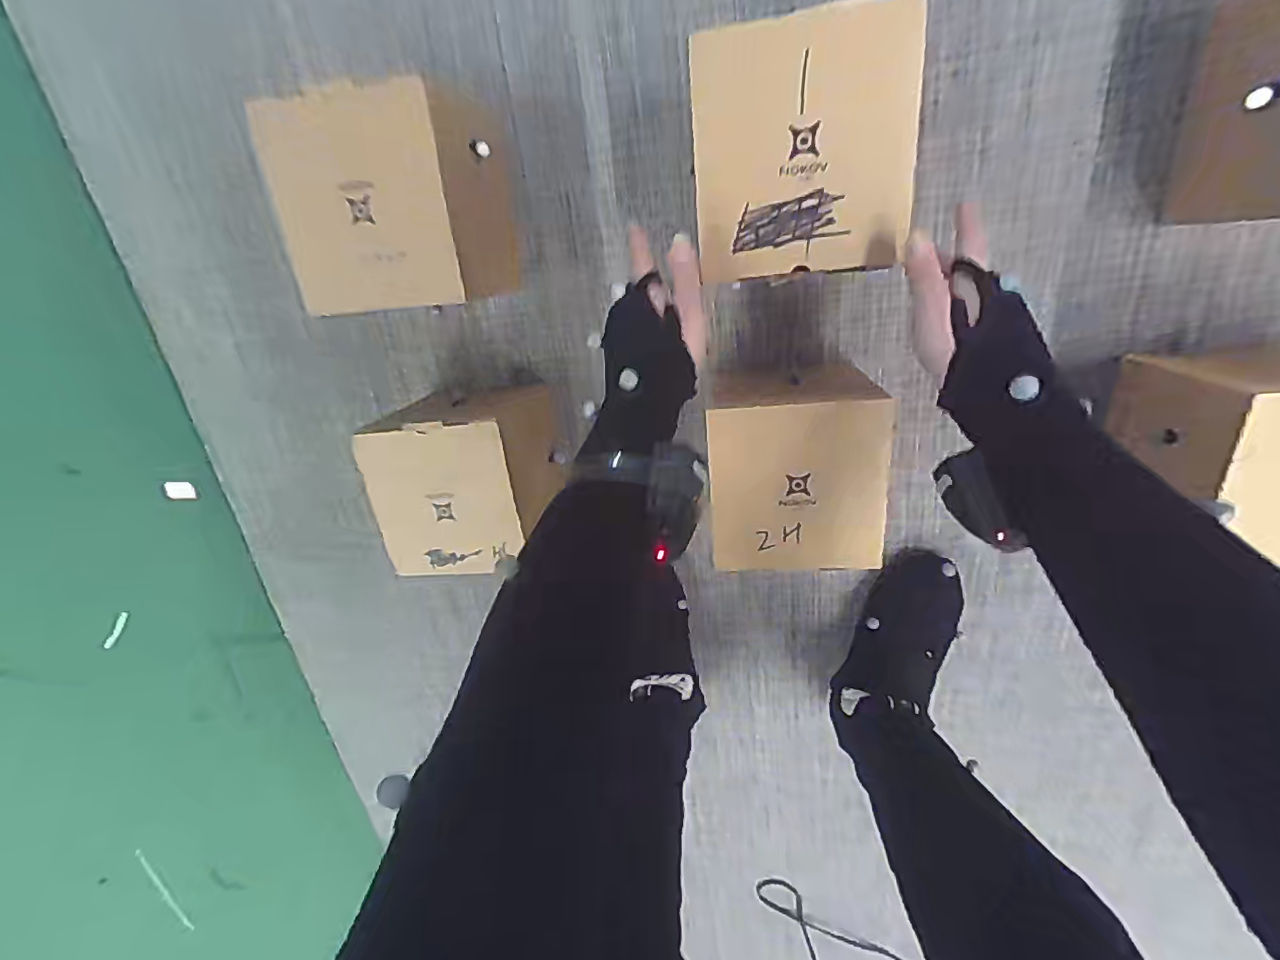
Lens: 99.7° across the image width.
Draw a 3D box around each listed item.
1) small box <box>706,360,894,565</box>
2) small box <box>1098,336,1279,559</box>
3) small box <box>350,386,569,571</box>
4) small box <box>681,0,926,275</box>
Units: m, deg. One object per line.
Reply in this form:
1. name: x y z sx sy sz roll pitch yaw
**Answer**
1. small box: 0.157 -0.027 0.578 0.168 0.176 0.179 -3 112 10
2. small box: 0.587 -0.038 0.508 0.179 0.176 0.168 -2 113 10
3. small box: -0.195 -0.010 0.639 0.168 0.176 0.179 -3 111 12
4. small box: 0.129 -0.283 0.473 0.168 0.176 0.179 -2 112 10
